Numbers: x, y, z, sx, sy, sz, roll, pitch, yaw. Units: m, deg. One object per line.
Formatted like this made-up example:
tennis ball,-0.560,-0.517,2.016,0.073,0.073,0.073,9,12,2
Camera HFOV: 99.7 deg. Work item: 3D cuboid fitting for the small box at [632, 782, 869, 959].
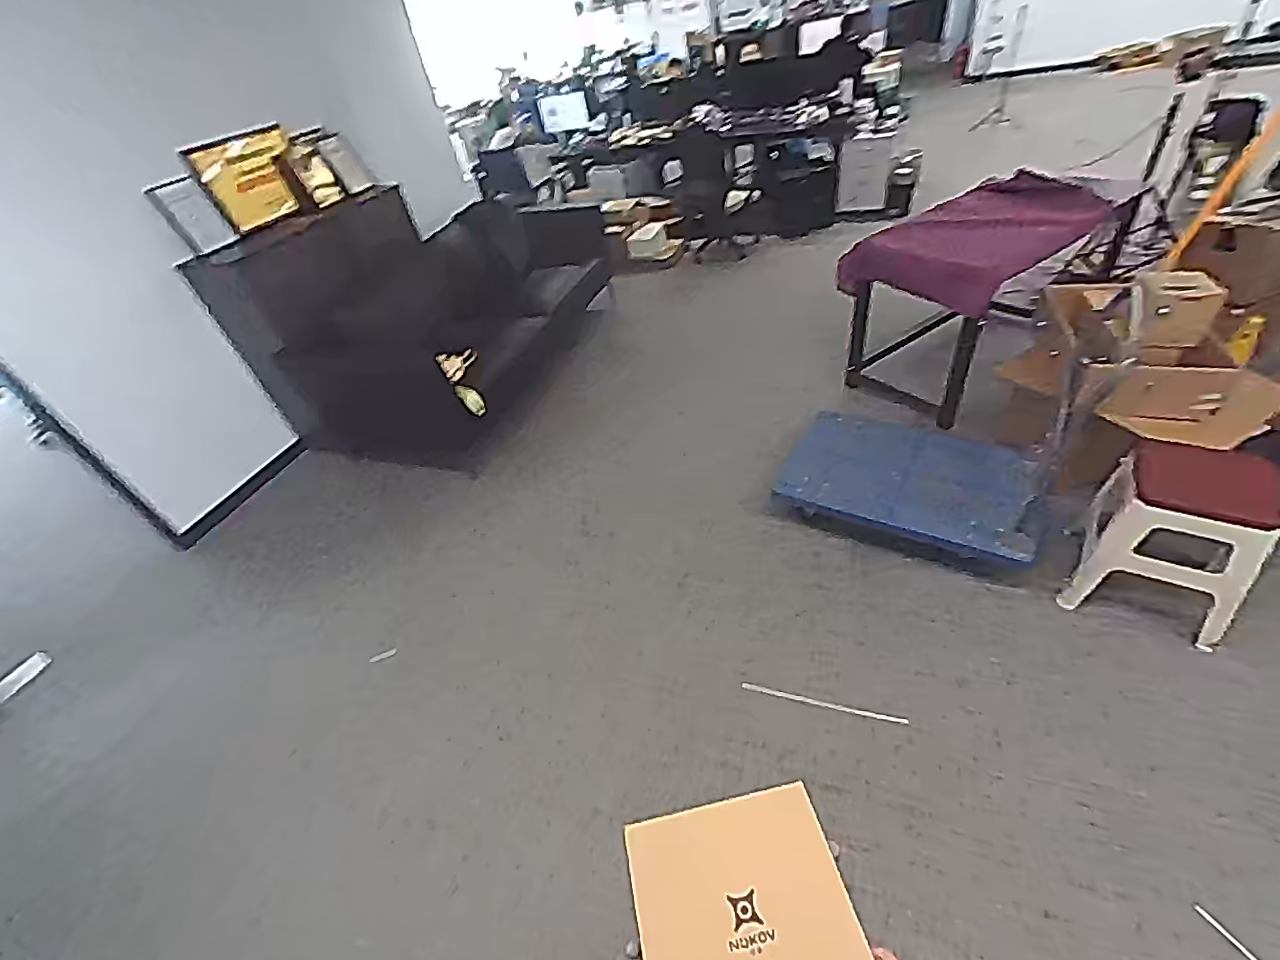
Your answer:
small box,0.091,0.404,0.473,0.168,0.176,0.179,-11,39,-3
